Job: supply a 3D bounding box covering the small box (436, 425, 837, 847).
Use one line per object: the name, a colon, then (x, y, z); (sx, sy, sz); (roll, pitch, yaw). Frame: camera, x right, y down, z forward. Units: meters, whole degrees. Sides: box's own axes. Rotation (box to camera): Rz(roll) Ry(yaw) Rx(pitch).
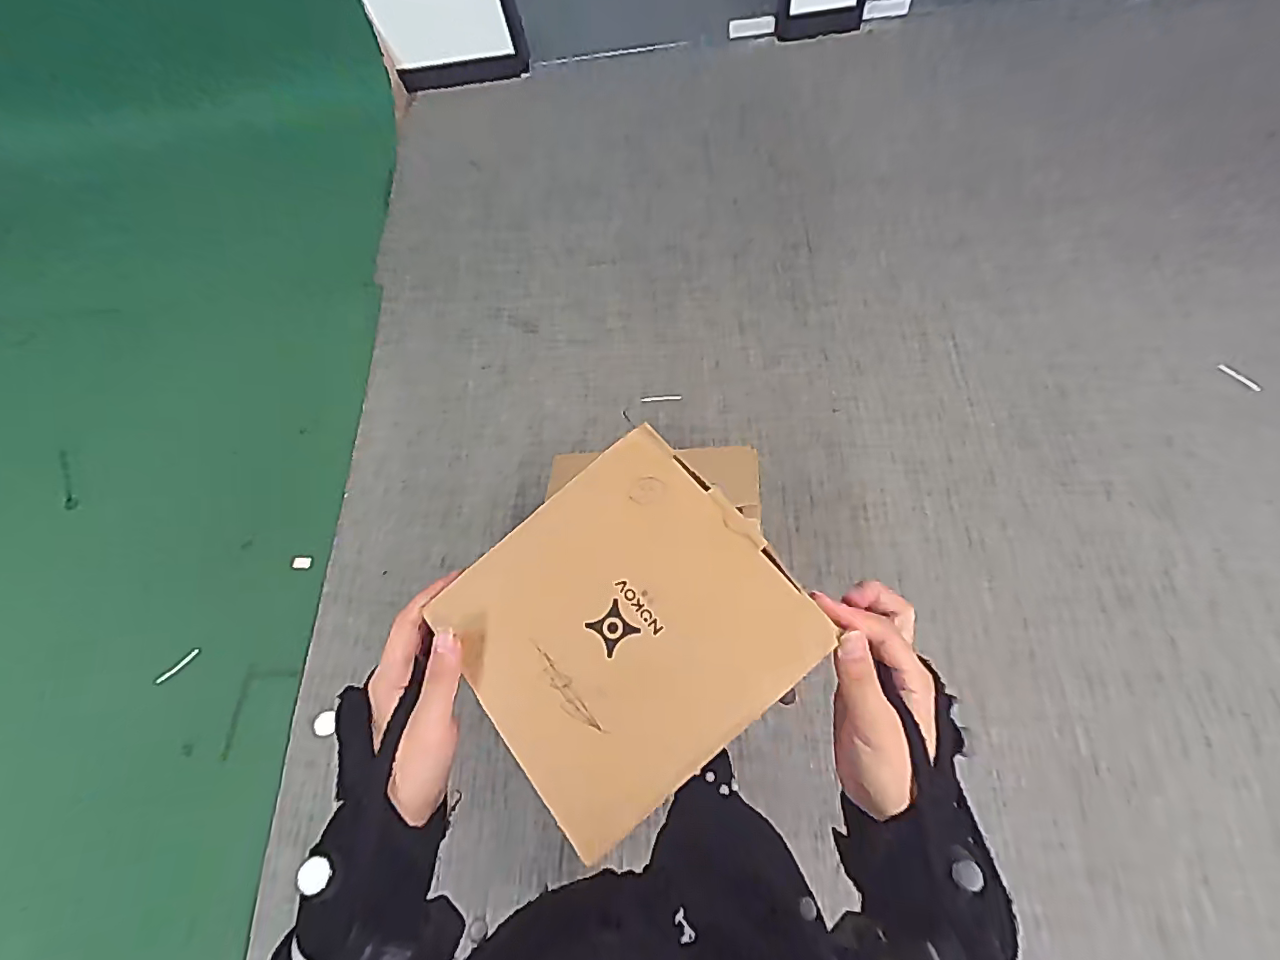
small box: (0.004, 0.098, 0.380); (0.179, 0.176, 0.168); (-41, 70, -3)
